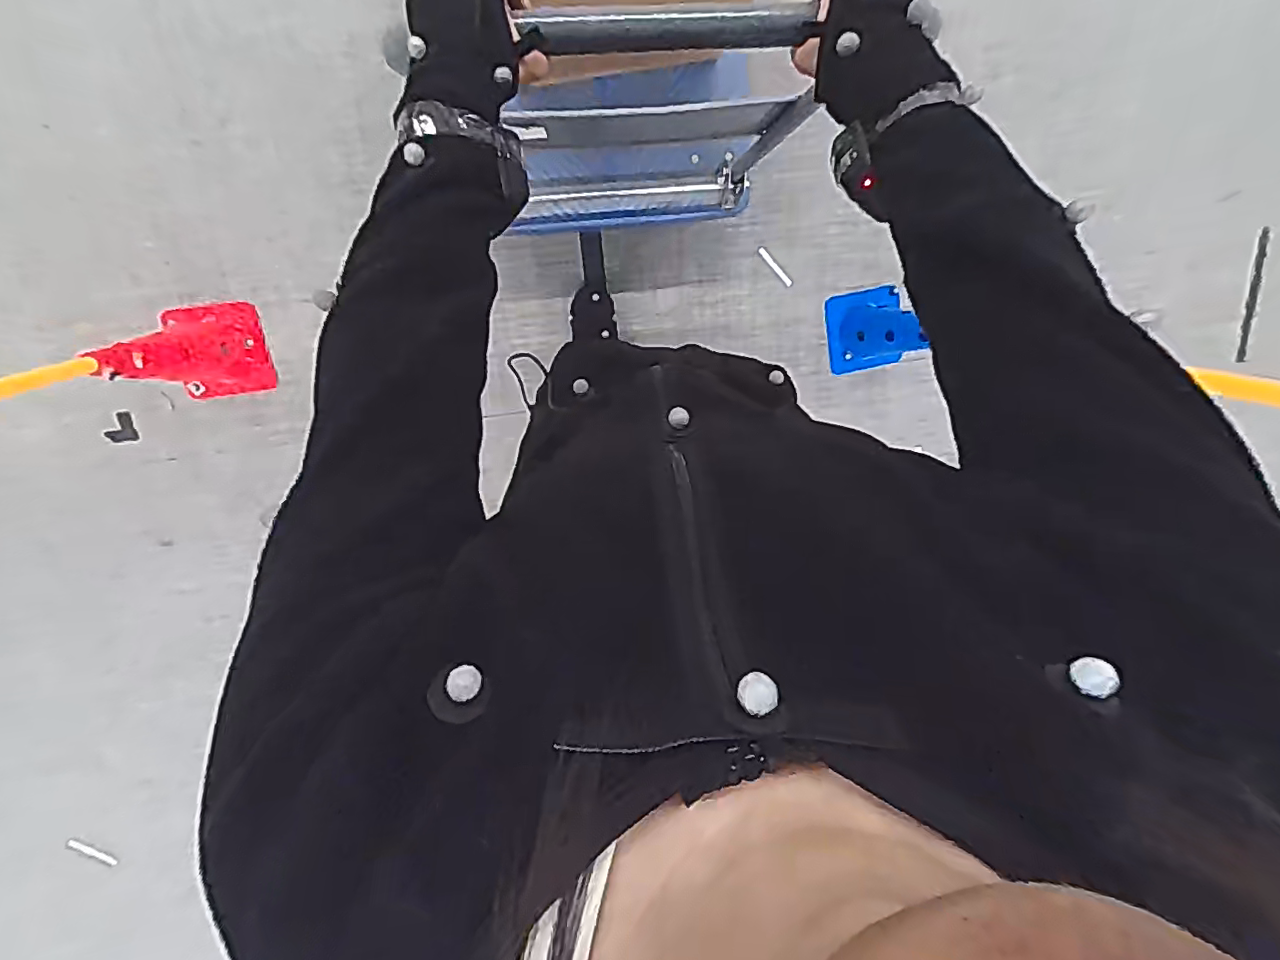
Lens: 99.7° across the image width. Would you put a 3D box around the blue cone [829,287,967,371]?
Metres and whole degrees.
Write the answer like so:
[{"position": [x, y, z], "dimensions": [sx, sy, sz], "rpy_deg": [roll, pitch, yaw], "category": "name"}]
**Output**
[{"position": [0.607, -0.344, 1.244], "dimensions": [0.193, 0.380, 0.192], "rpy_deg": [-12, 107, -5], "category": "blue cone"}]
